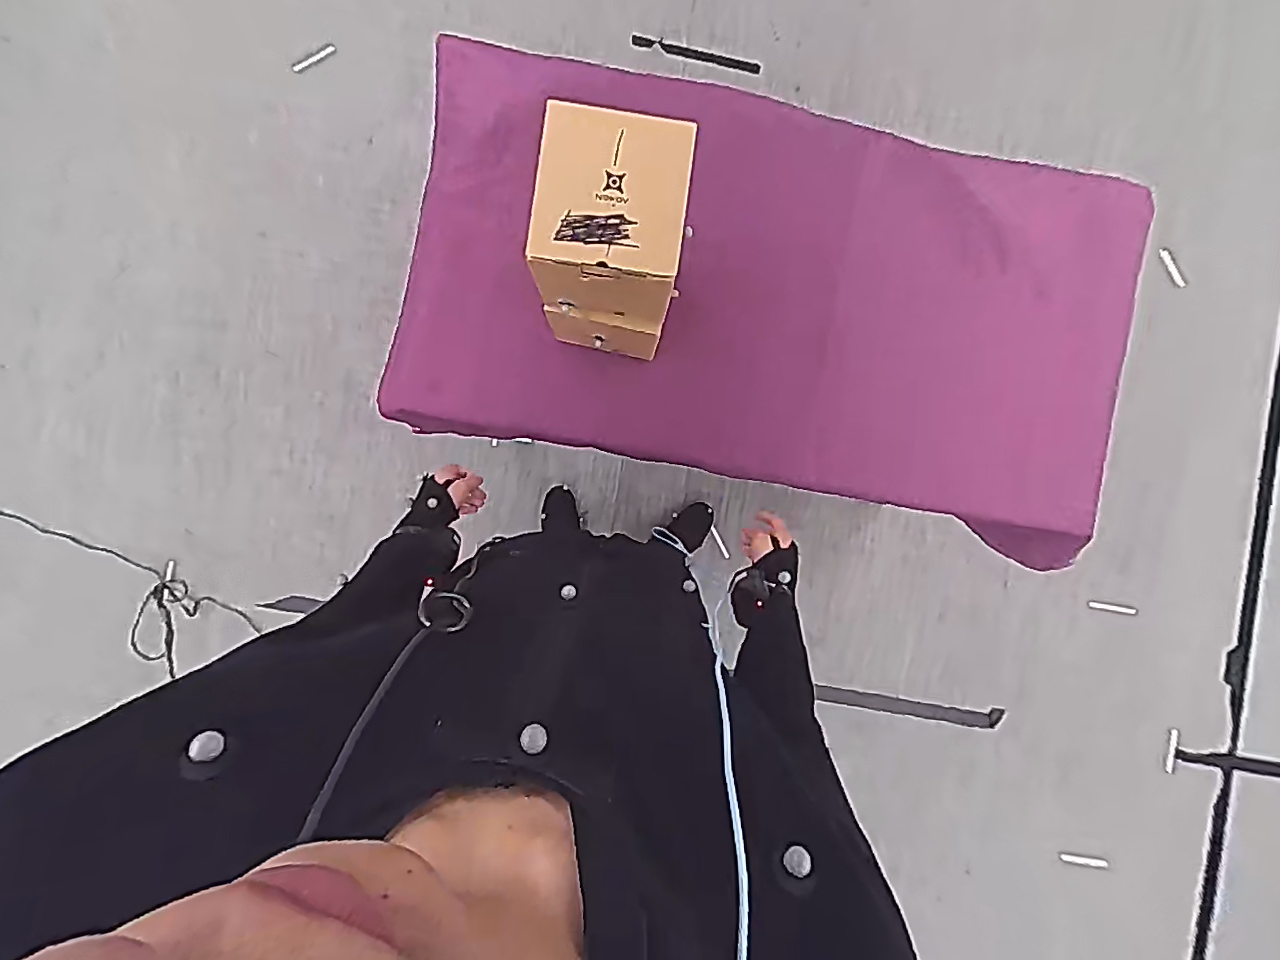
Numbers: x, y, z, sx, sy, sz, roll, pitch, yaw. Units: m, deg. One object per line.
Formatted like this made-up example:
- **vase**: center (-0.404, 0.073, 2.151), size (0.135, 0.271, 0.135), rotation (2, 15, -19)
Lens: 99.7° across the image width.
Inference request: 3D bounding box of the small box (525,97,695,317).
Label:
- **small box**: center (-0.035, -0.315, 0.663), size (0.168, 0.176, 0.179), rotation (8, 89, -3)

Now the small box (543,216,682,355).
- **small box**: center (-0.040, -0.305, 0.828), size (0.168, 0.176, 0.179), rotation (12, 90, -3)
